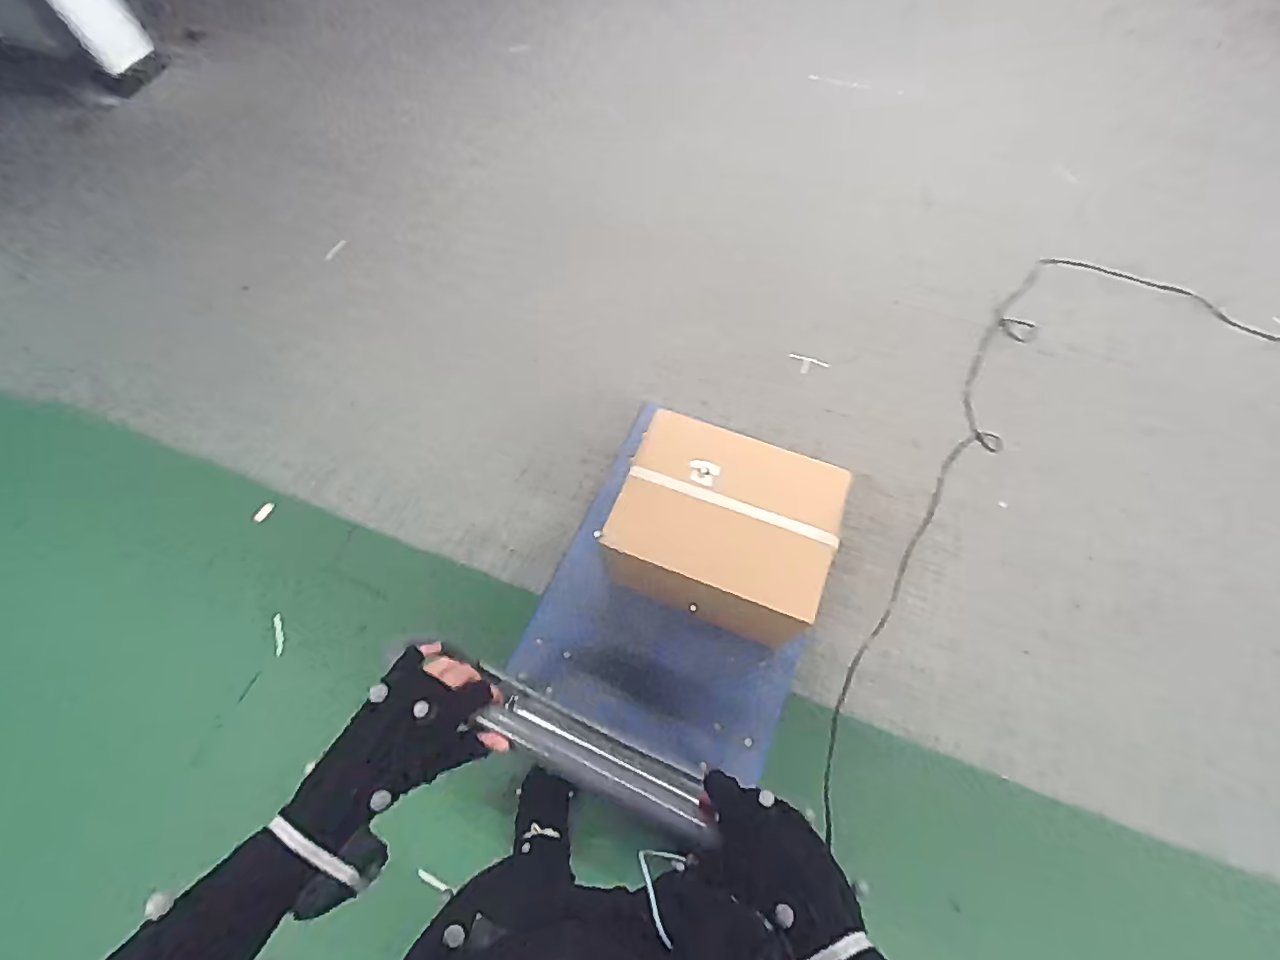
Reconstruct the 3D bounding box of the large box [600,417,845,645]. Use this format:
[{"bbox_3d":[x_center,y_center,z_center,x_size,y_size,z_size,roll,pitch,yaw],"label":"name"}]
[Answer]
[{"bbox_3d":[0.168,0.120,1.158,0.408,0.320,0.320,19,65,10],"label":"large box"}]
